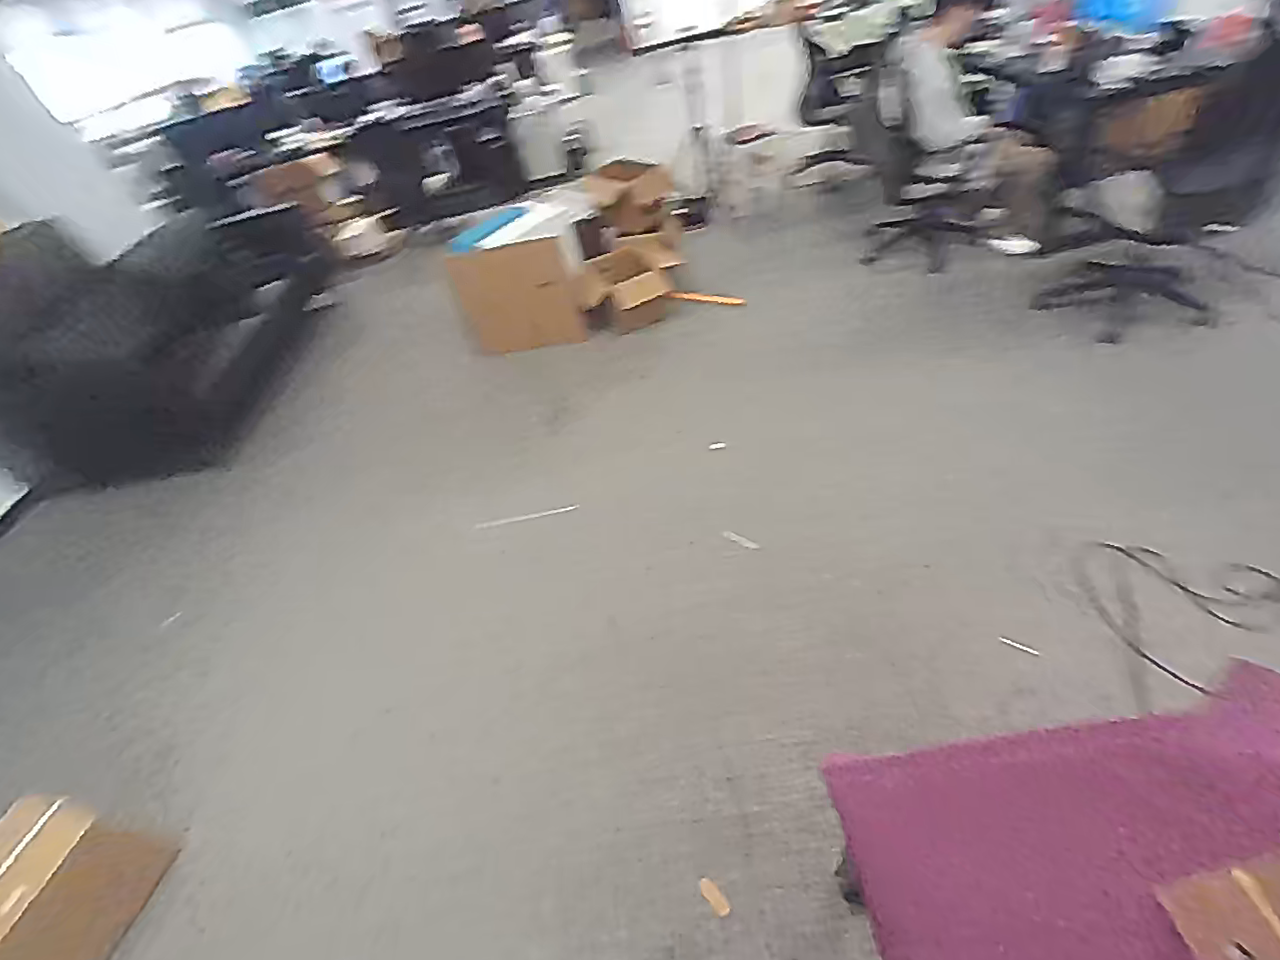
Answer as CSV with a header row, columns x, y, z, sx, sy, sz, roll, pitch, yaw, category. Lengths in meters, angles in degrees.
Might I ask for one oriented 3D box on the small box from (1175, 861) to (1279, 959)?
x,y,z,sx,sy,sz,roll,pitch,yaw,category
0.683,0.476,0.520,0.179,0.176,0.168,-11,45,4,small box
